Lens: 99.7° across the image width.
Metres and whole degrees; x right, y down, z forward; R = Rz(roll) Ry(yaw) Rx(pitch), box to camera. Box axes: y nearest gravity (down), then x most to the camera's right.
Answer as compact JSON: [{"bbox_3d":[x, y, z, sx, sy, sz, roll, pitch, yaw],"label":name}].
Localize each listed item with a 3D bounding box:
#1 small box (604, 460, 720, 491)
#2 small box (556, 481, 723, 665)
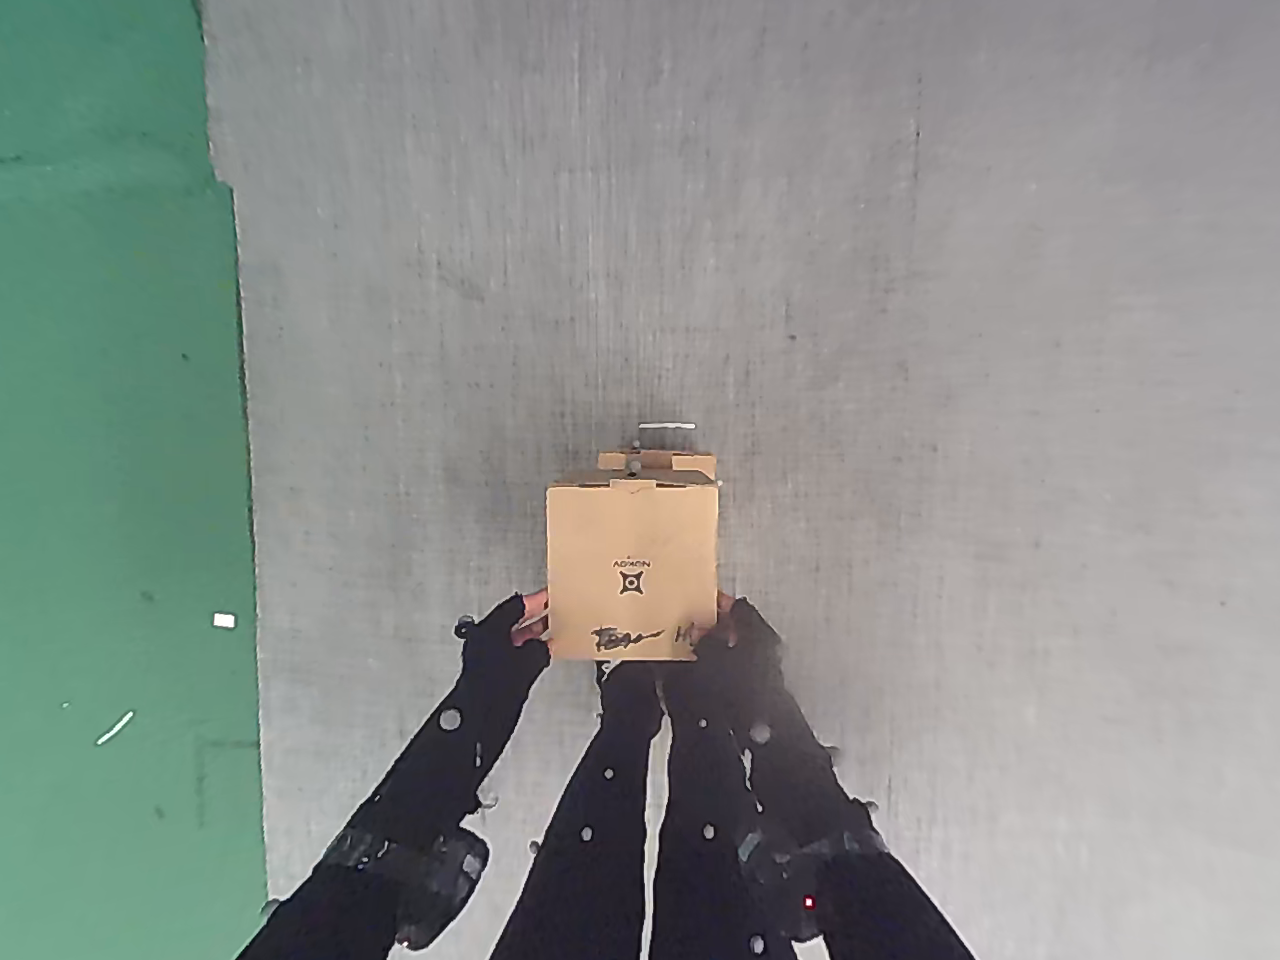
[{"bbox_3d":[0.035,0.059,0.840,0.168,0.176,0.179,1,94,6],"label":"small box"},{"bbox_3d":[-0.002,0.092,0.610,0.168,0.176,0.179,0,94,0],"label":"small box"}]
